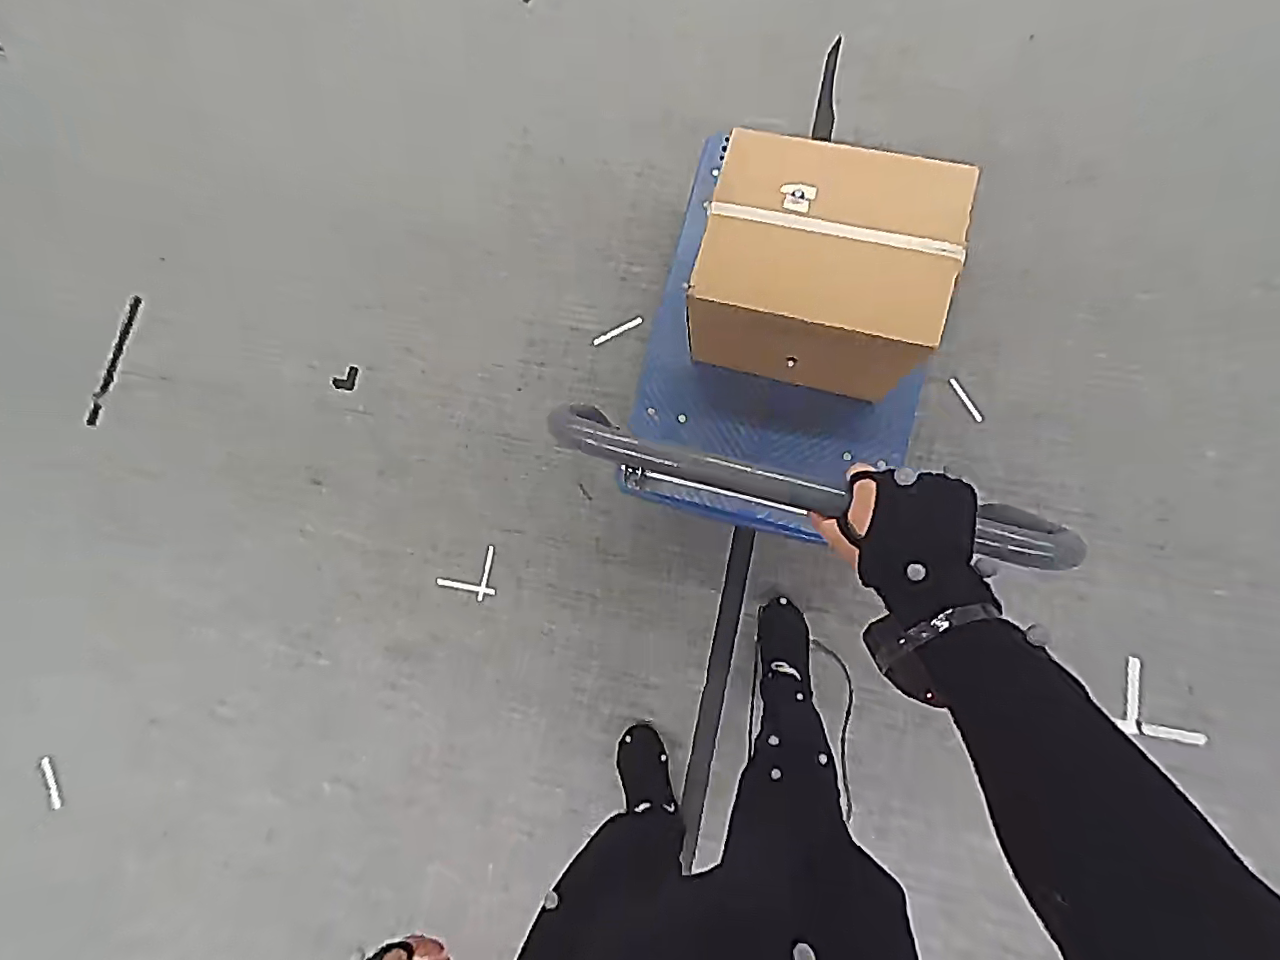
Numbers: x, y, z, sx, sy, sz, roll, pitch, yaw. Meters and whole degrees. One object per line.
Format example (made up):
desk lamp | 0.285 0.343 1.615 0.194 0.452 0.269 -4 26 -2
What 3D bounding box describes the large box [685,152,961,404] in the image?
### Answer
large box | 0.324 -0.367 1.051 0.408 0.320 0.320 14 83 9
